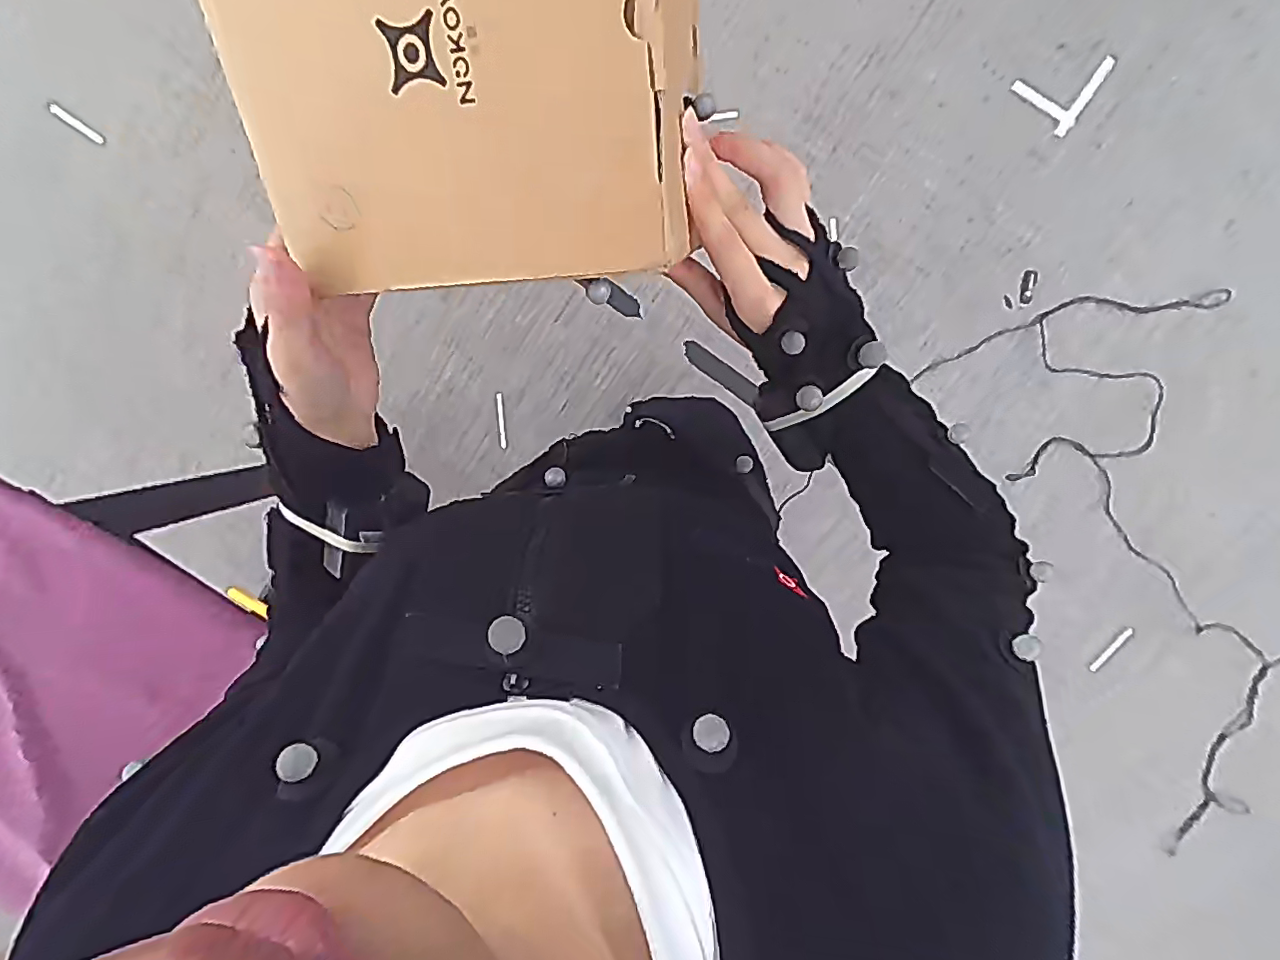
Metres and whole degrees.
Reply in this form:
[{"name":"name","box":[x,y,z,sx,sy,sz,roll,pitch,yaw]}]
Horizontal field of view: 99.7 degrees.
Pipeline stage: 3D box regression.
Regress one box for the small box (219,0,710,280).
[{"name":"small box","box":[-0.061,-0.198,0.270,0.179,0.176,0.168,0,116,12]}]
